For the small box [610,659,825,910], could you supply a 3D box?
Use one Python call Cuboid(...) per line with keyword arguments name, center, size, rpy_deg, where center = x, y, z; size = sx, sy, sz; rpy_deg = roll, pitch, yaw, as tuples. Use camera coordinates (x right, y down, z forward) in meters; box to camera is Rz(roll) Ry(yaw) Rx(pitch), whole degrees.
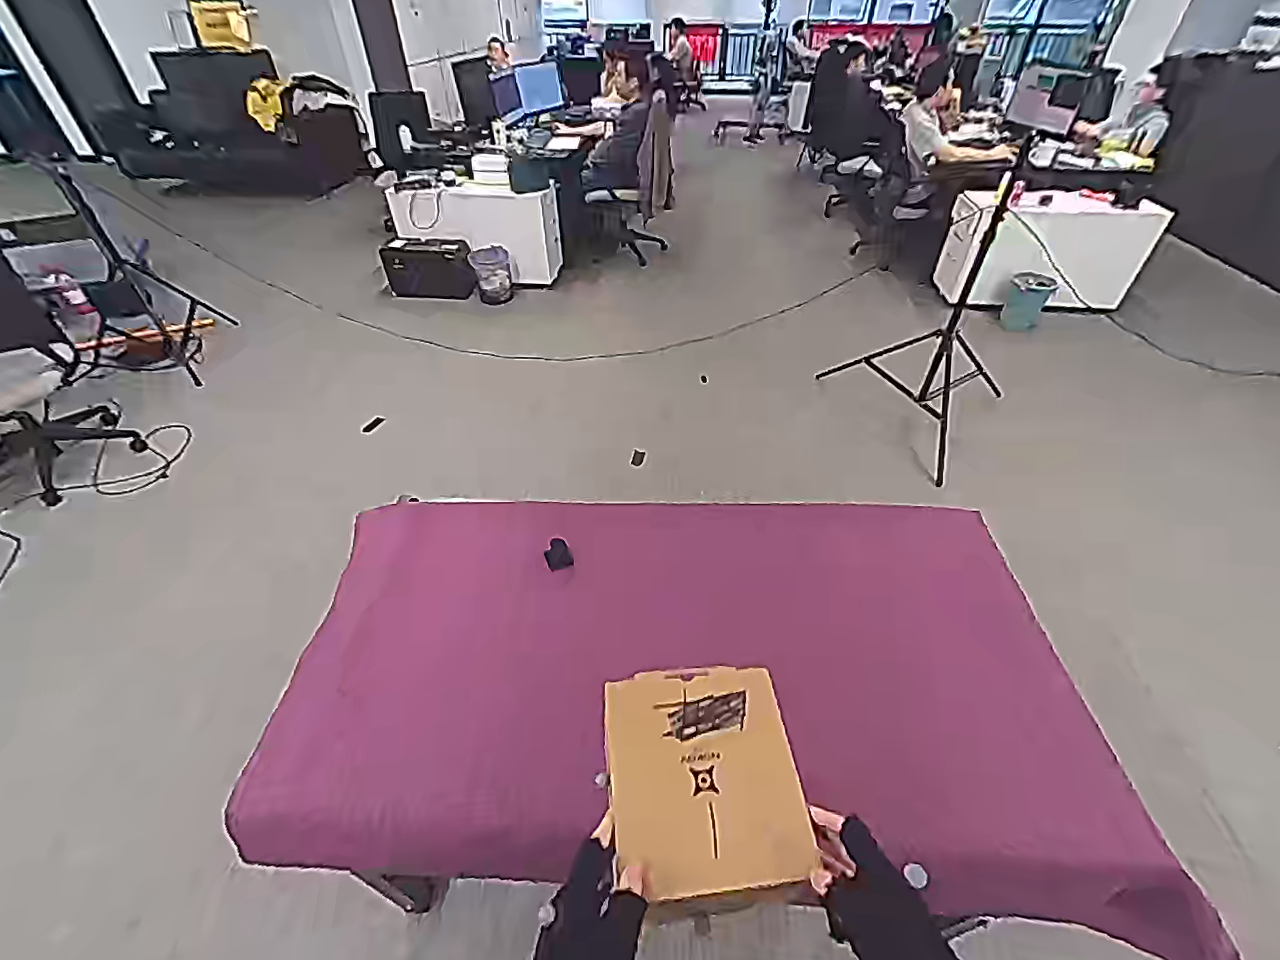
Cuboid(name="small box", center=(0.057, 0.301, 0.538), size=(0.168, 0.176, 0.179), rpy_deg=(-3, 47, -5))
